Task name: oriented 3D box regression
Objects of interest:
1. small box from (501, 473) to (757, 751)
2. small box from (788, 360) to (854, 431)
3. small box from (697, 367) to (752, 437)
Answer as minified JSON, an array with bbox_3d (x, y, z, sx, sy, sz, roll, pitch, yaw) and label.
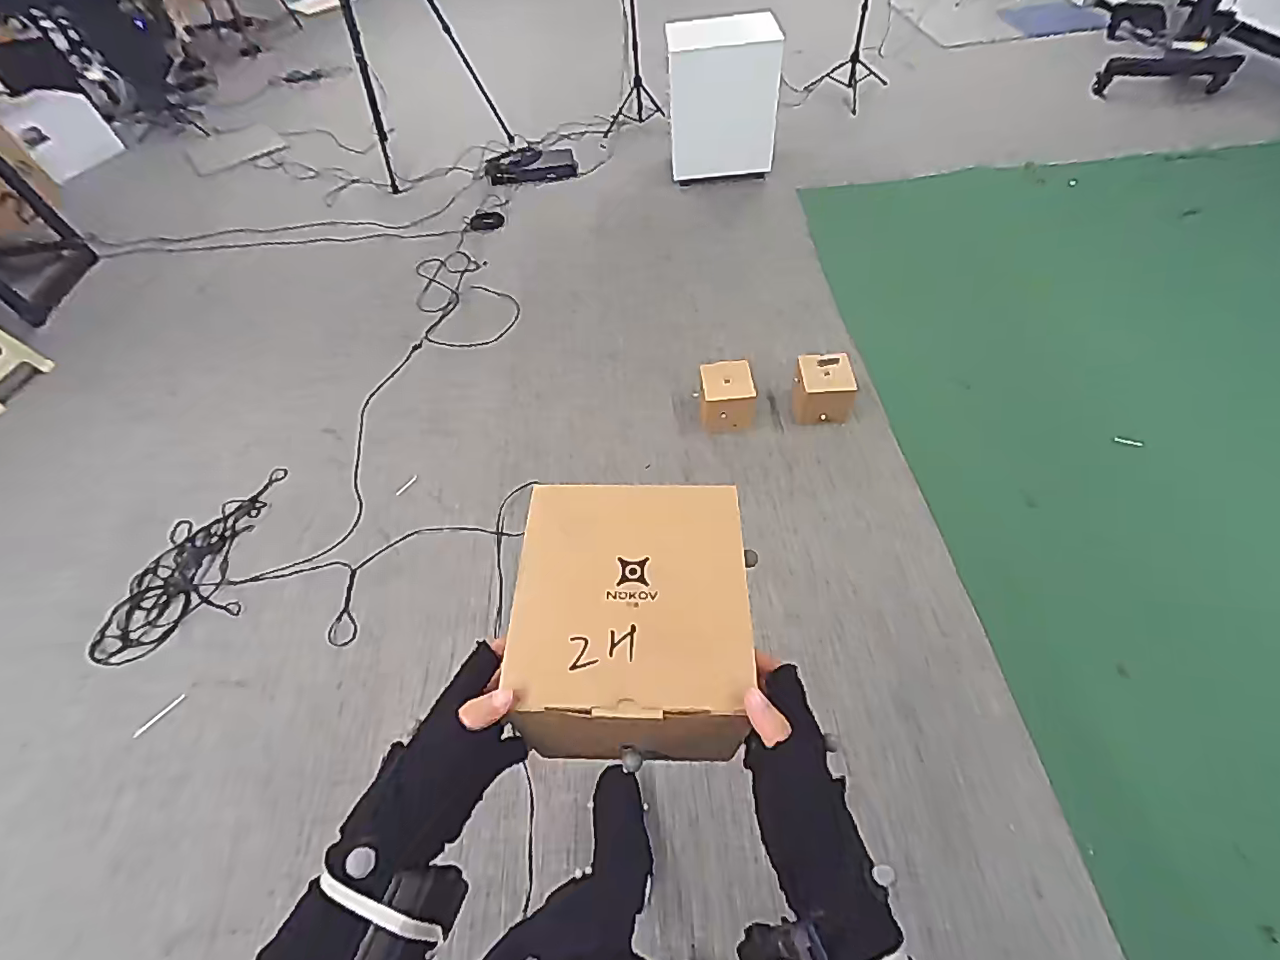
[{"bbox_3d":[-0.004,0.112,0.454,0.168,0.176,0.179,0,53,2],"label":"small box"},{"bbox_3d":[0.614,-0.290,1.859,0.168,0.176,0.179,-3,55,4],"label":"small box"},{"bbox_3d":[0.290,-0.264,1.873,0.168,0.176,0.179,-6,53,1],"label":"small box"}]
